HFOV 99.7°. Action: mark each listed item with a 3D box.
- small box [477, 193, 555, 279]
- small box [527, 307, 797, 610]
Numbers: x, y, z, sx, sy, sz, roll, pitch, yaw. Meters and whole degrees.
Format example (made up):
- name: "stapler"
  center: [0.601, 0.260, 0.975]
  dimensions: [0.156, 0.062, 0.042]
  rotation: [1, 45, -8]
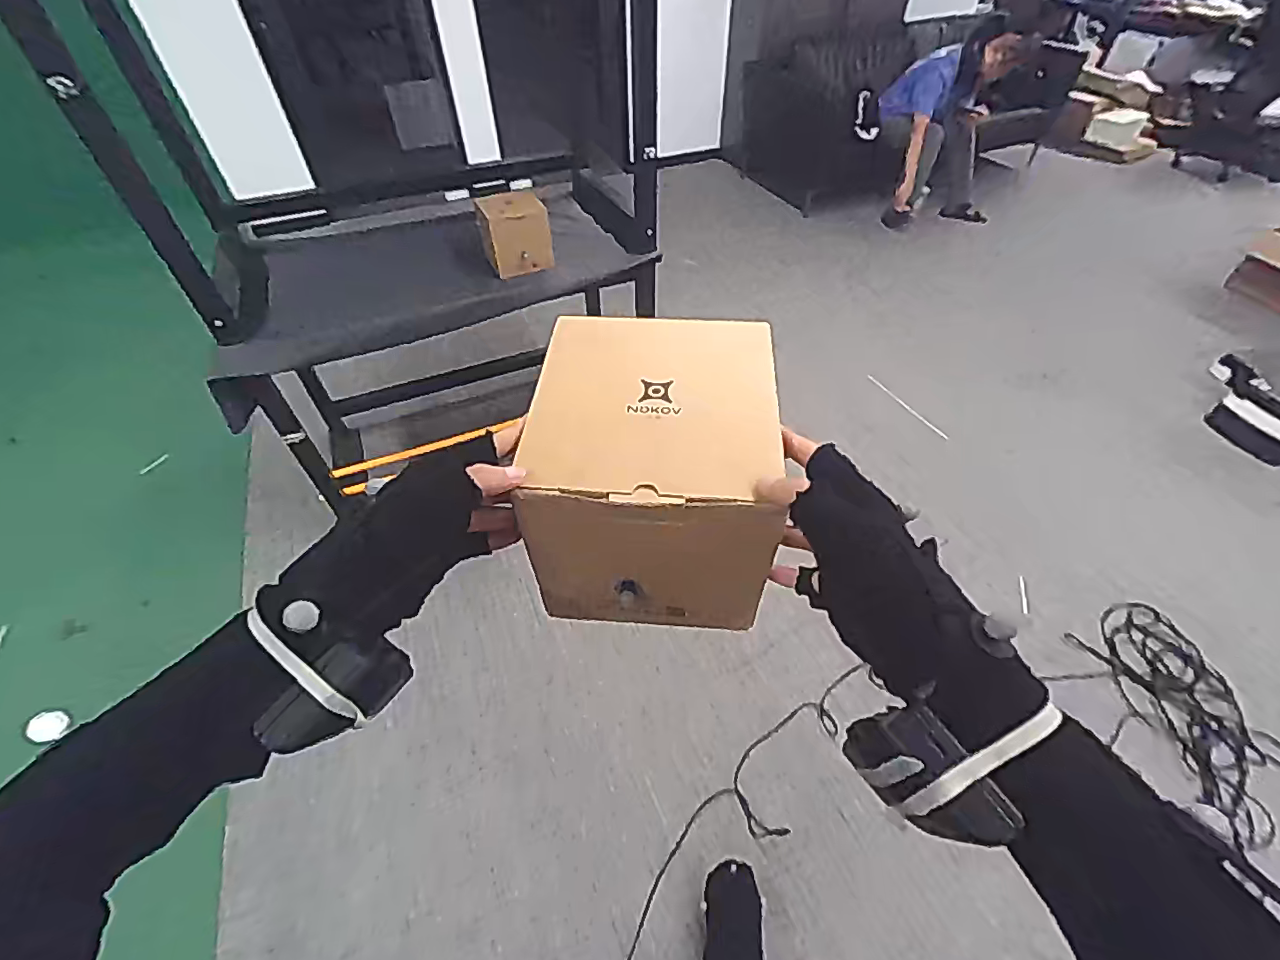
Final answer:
- name: "small box"
  center: [-0.358, -0.708, 1.571]
  dimensions: [0.168, 0.176, 0.179]
  rotation: [-20, 49, -16]
- name: "small box"
  center: [0.018, -0.016, 0.435]
  dimensions: [0.168, 0.176, 0.179]
  rotation: [2, 51, 3]
